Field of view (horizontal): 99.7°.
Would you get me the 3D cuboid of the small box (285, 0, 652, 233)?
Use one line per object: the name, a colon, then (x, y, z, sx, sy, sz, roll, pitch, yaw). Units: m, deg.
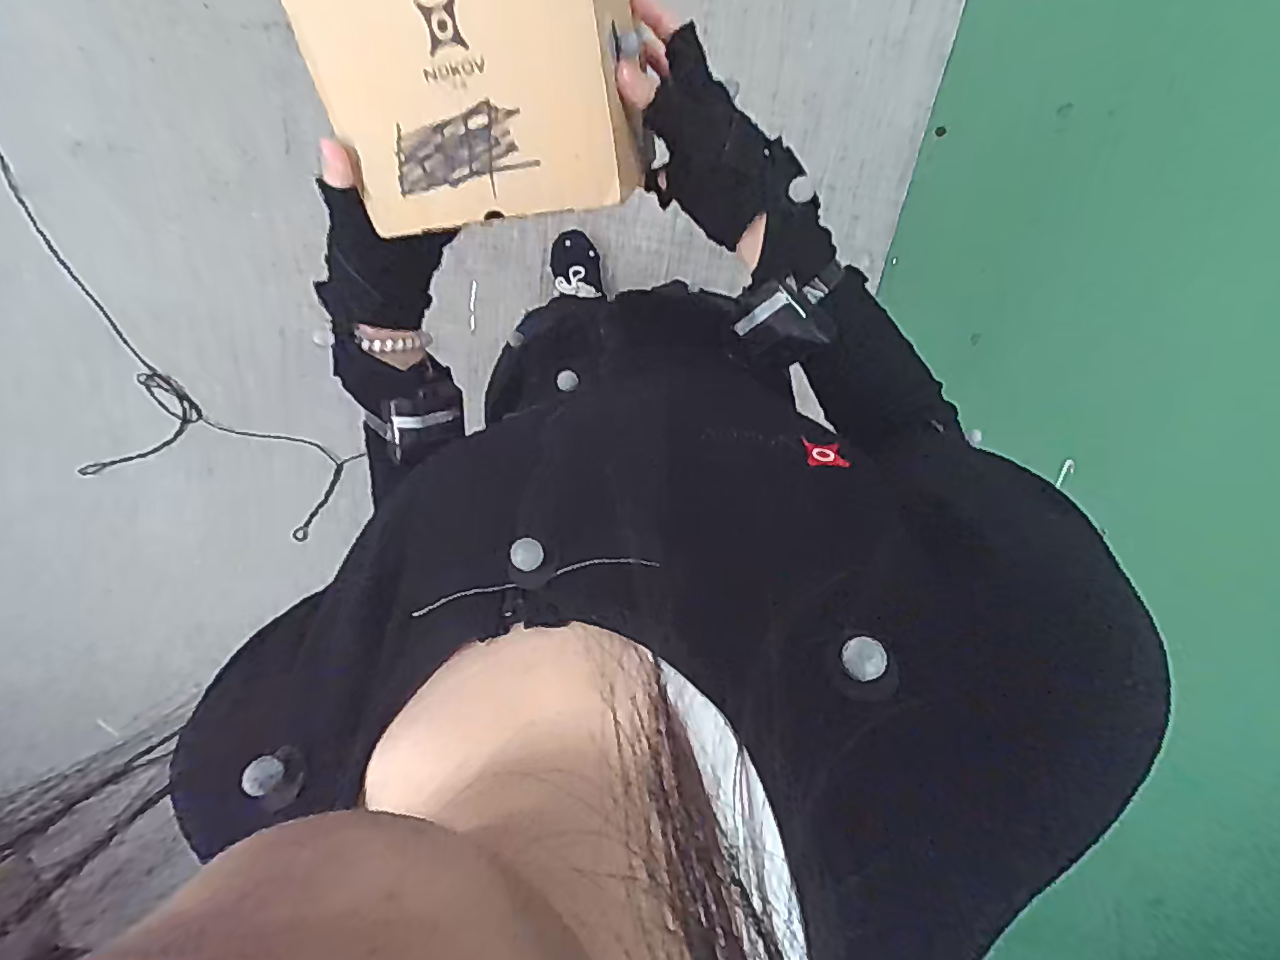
small box: (-0.090, -0.279, 0.345, 0.168, 0.176, 0.179, -2, 128, 11)
